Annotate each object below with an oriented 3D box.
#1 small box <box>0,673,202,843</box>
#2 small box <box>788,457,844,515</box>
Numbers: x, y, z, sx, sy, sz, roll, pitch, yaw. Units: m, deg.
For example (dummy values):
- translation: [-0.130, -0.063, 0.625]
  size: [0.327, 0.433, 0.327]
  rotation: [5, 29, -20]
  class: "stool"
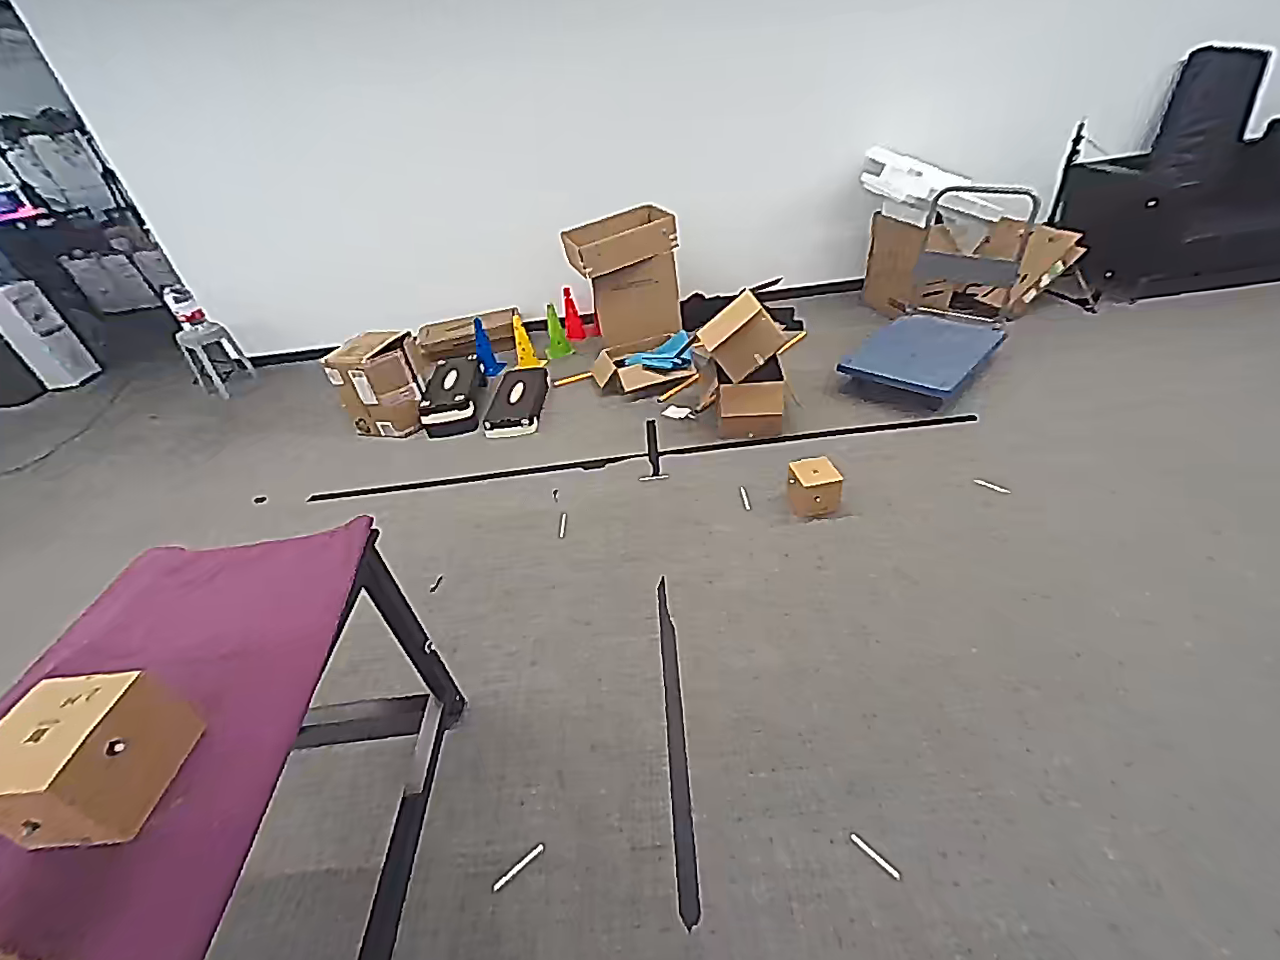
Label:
- translation: [-0.814, 0.415, 0.801]
  size: [0.168, 0.176, 0.179]
  rotation: [-5, 36, 4]
  class: "small box"
- translation: [0.727, 0.031, 2.245]
  size: [0.168, 0.176, 0.179]
  rotation: [-11, 36, -4]
  class: "small box"
